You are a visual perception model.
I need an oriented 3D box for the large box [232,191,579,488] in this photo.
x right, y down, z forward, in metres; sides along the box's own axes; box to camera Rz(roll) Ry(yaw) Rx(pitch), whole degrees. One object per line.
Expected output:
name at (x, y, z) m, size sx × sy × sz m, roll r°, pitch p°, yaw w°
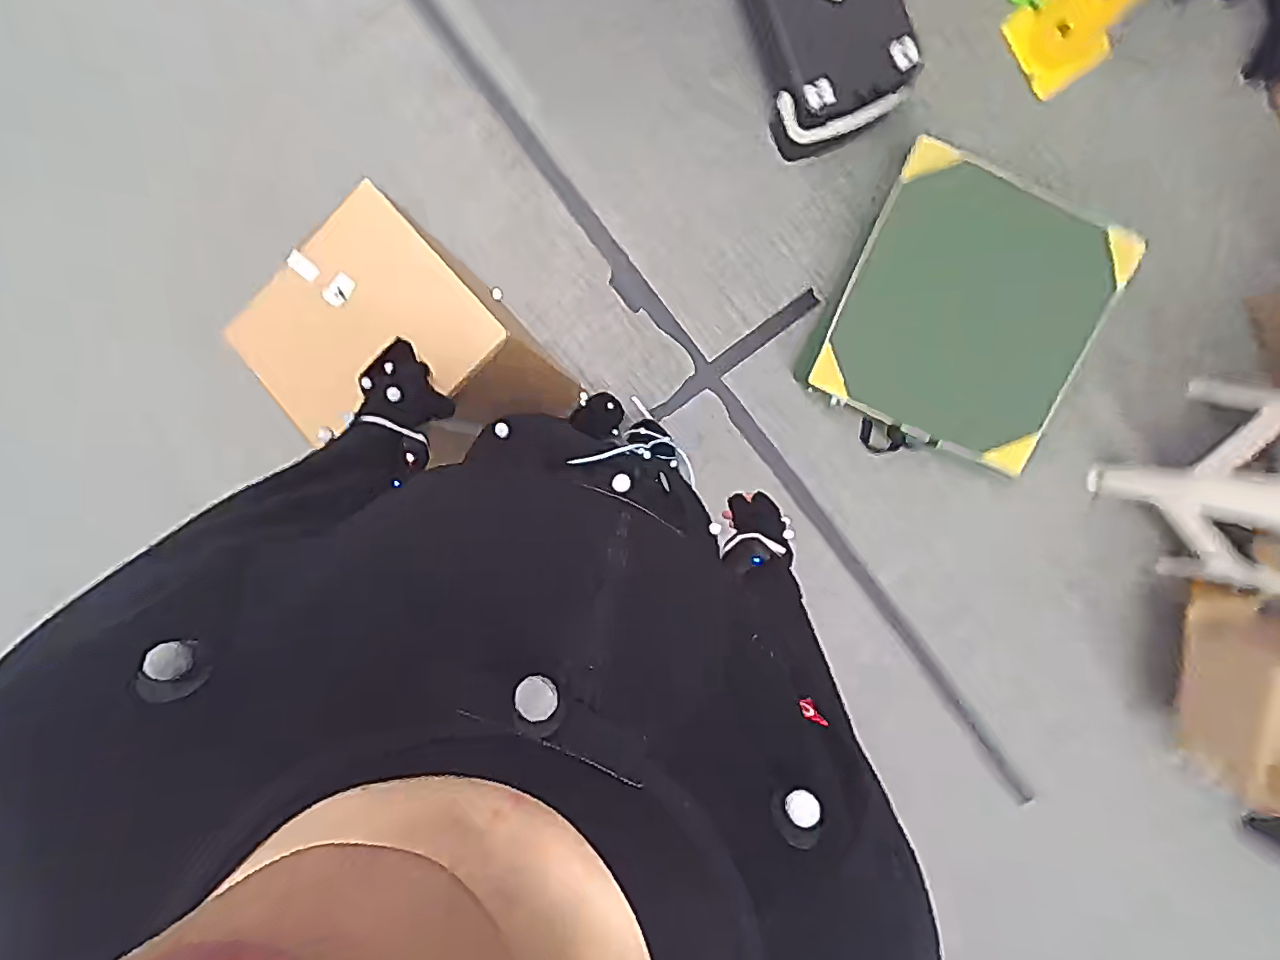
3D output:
large box at (-0.367, -0.205, 0.951) m, size 0.320 × 0.408 × 0.320 m, roll -43°, pitch 84°, yaw 7°
